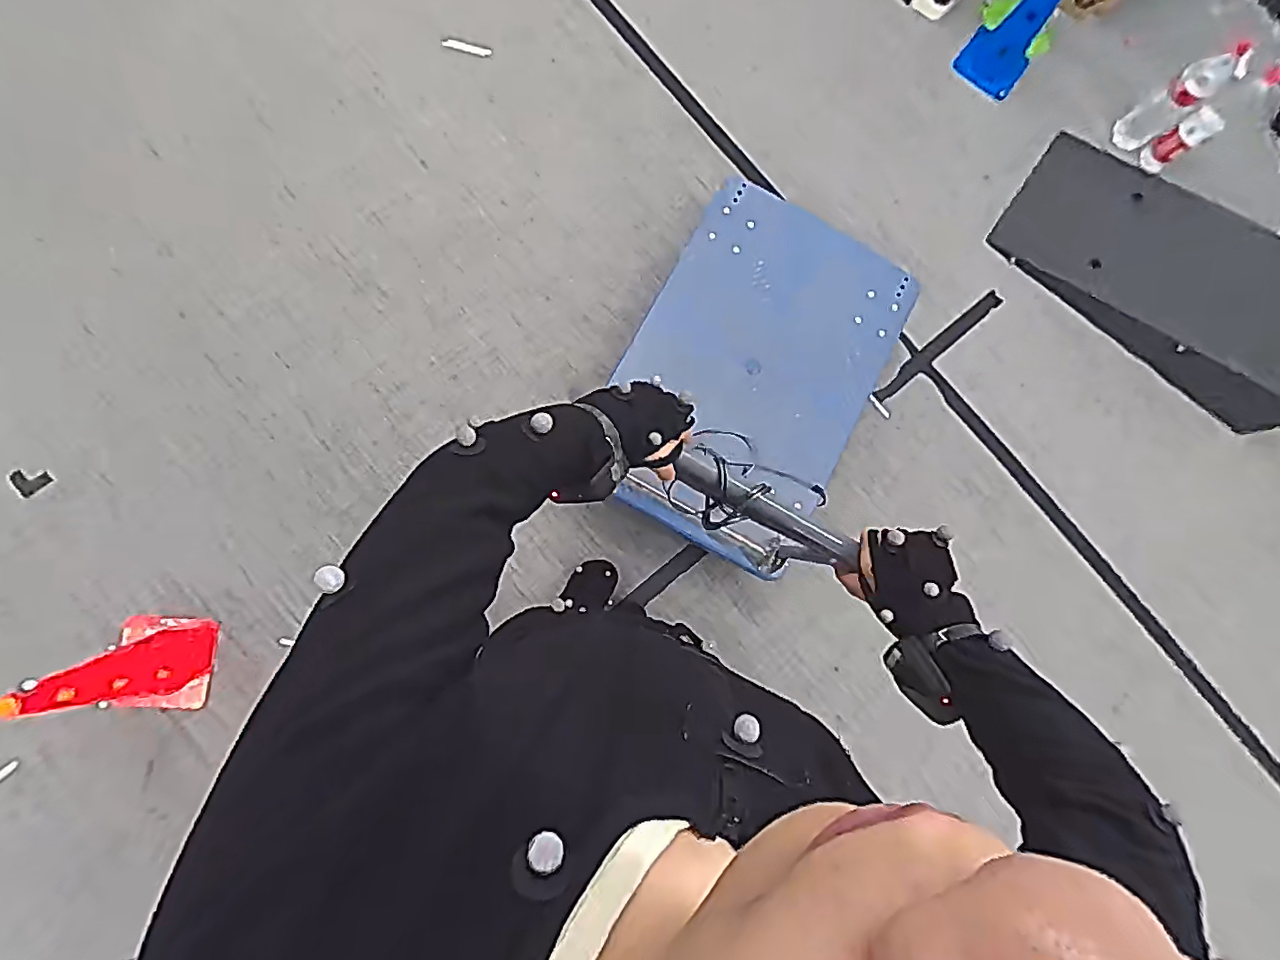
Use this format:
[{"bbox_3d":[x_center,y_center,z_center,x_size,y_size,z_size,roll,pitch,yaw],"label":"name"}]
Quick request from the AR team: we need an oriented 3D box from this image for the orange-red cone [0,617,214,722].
[{"bbox_3d":[-1.065,0.398,1.060,0.199,0.360,0.198,7,83,-7],"label":"orange-red cone"}]
